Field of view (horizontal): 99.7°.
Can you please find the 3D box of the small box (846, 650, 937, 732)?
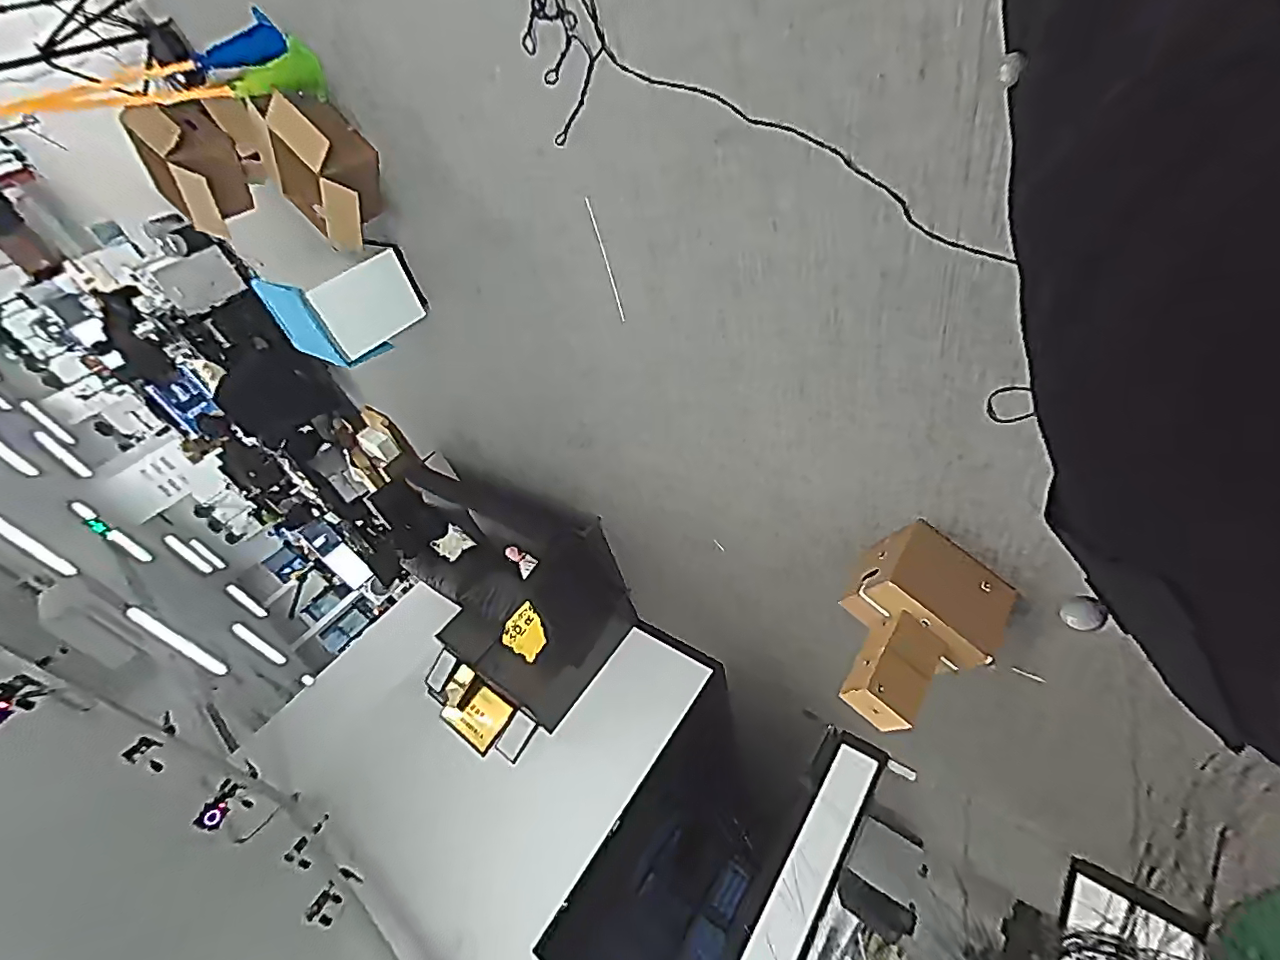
[{"bbox_3d":[0.811,0.677,1.737,0.179,0.176,0.168,39,151,10],"label":"small box"}]
